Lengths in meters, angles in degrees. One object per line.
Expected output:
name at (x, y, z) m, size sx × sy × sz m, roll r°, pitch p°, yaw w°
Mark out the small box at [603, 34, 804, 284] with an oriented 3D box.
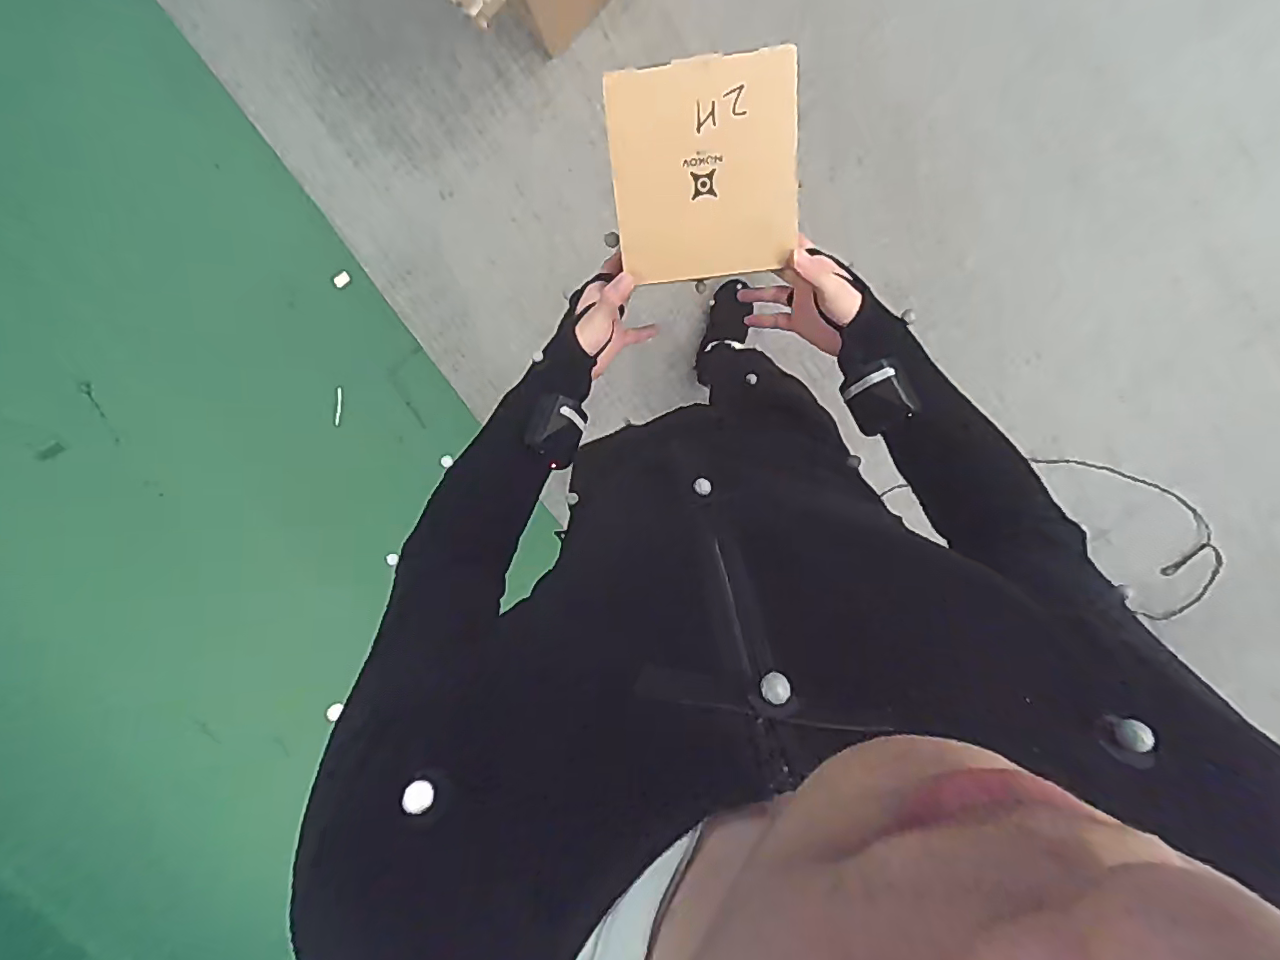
small box at (0.062, -0.298, 0.541) m, size 0.168 × 0.176 × 0.179 m, roll -5°, pitch 110°, yaw 4°
